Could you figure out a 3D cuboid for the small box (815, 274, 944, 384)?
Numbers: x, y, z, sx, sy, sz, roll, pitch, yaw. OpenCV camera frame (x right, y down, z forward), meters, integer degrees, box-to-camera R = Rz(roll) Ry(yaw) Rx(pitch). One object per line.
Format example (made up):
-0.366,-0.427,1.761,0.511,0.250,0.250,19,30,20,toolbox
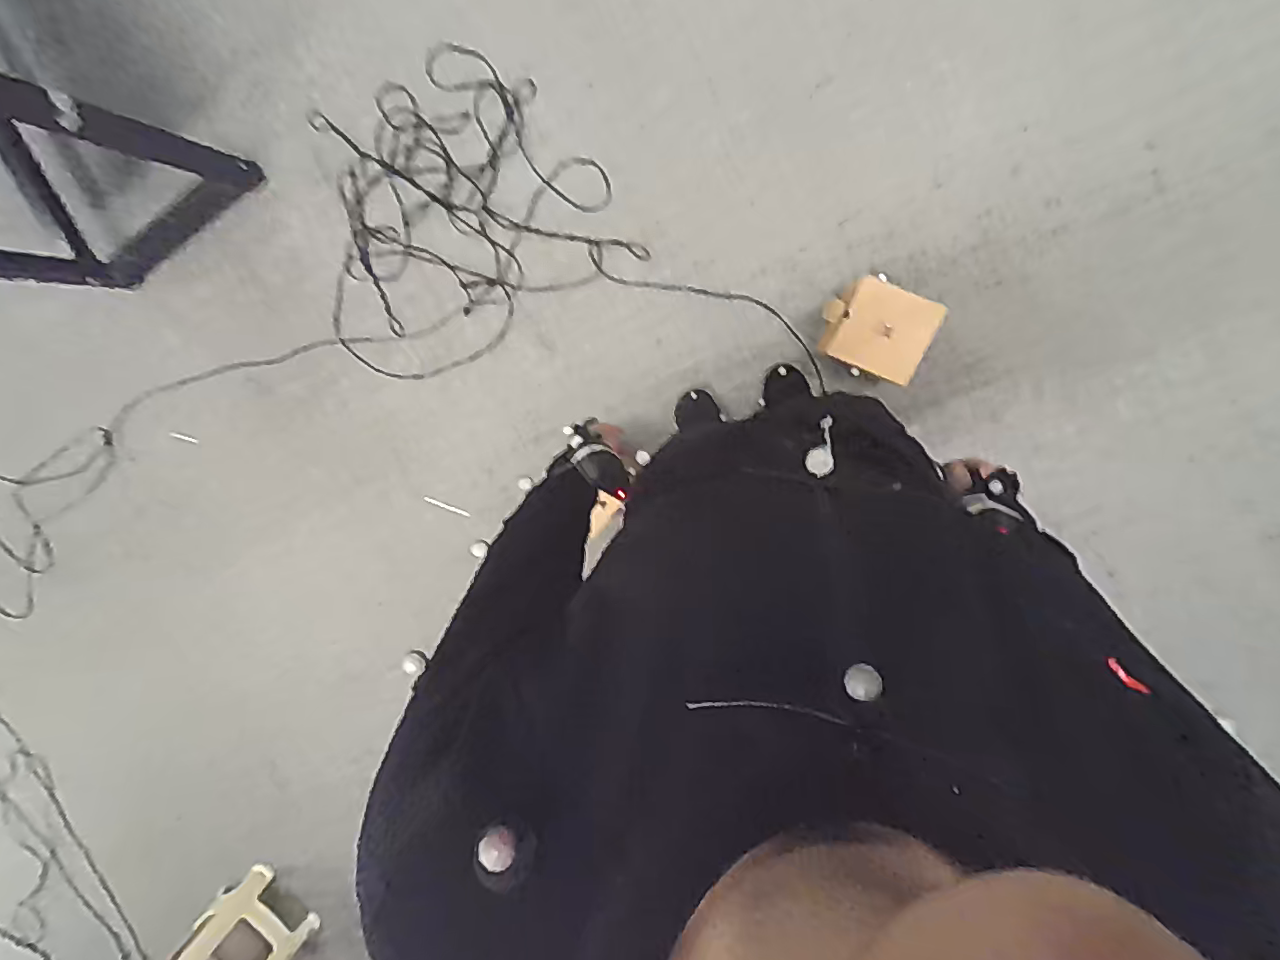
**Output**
0.497,-0.320,1.151,0.179,0.176,0.168,24,108,4,small box
